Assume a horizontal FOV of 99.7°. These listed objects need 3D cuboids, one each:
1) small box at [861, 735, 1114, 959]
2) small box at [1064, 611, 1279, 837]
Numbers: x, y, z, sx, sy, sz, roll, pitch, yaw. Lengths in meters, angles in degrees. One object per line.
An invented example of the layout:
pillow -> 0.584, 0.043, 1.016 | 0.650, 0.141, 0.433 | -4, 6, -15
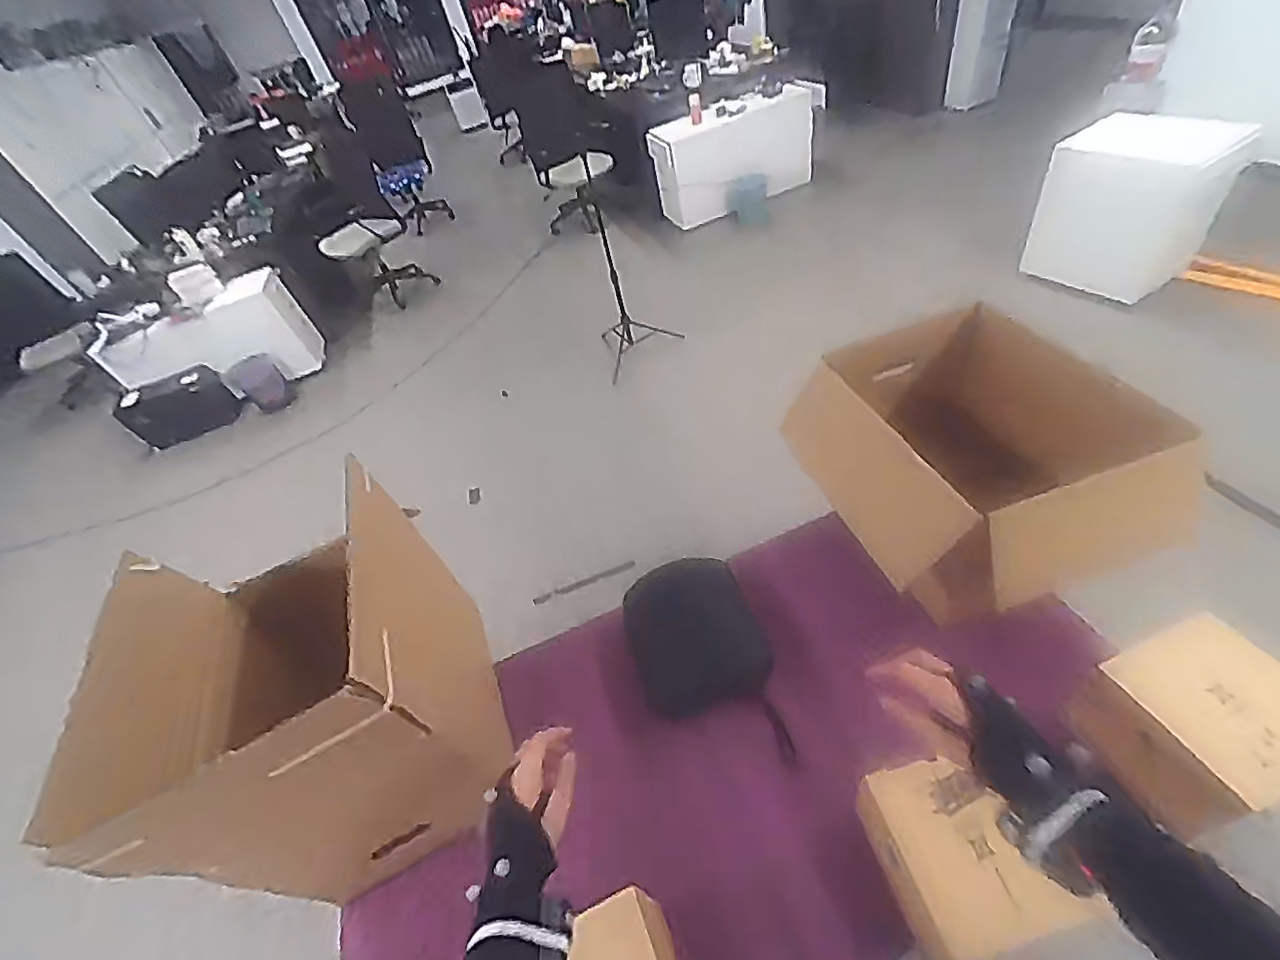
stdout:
small box -> 0.380, 0.437, 0.638 | 0.168, 0.176, 0.179 | -19, 46, 0
small box -> 0.683, 0.301, 0.668 | 0.168, 0.176, 0.179 | -24, 45, -4
